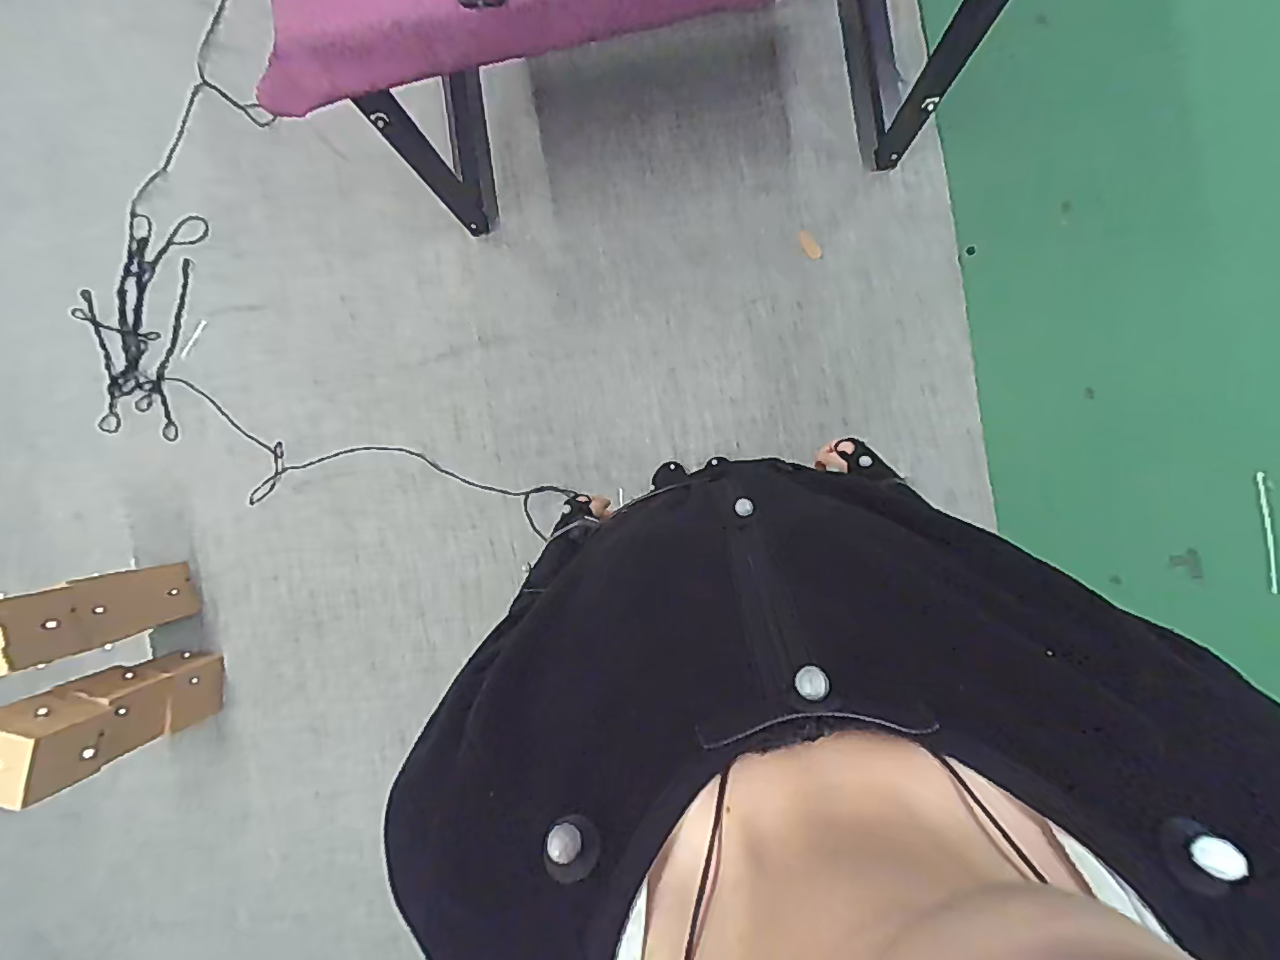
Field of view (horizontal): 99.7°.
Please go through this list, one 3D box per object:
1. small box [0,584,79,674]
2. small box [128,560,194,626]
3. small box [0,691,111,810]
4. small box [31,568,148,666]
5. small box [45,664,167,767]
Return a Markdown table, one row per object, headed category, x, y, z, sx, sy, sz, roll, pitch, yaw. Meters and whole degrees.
| category | x | y | z | sx | sy | sz | roll | pitch | yaw |
| --- | --- | --- | --- | --- | --- | --- | --- | --- | --- |
| small box | -1.444 | 0.345 | 1.233 | 0.179 | 0.176 | 0.168 | -12 | 90 | 3 |
| small box | -1.438 | 0.338 | 1.558 | 0.179 | 0.176 | 0.168 | -16 | 90 | 5 |
| small box | -1.386 | 0.605 | 1.234 | 0.179 | 0.176 | 0.168 | 14 | 91 | 4 |
| small box | -1.436 | 0.346 | 1.395 | 0.168 | 0.176 | 0.179 | -20 | 90 | 4 |
| small box | -1.381 | 0.601 | 1.399 | 0.168 | 0.176 | 0.179 | 9 | 91 | 5 |
